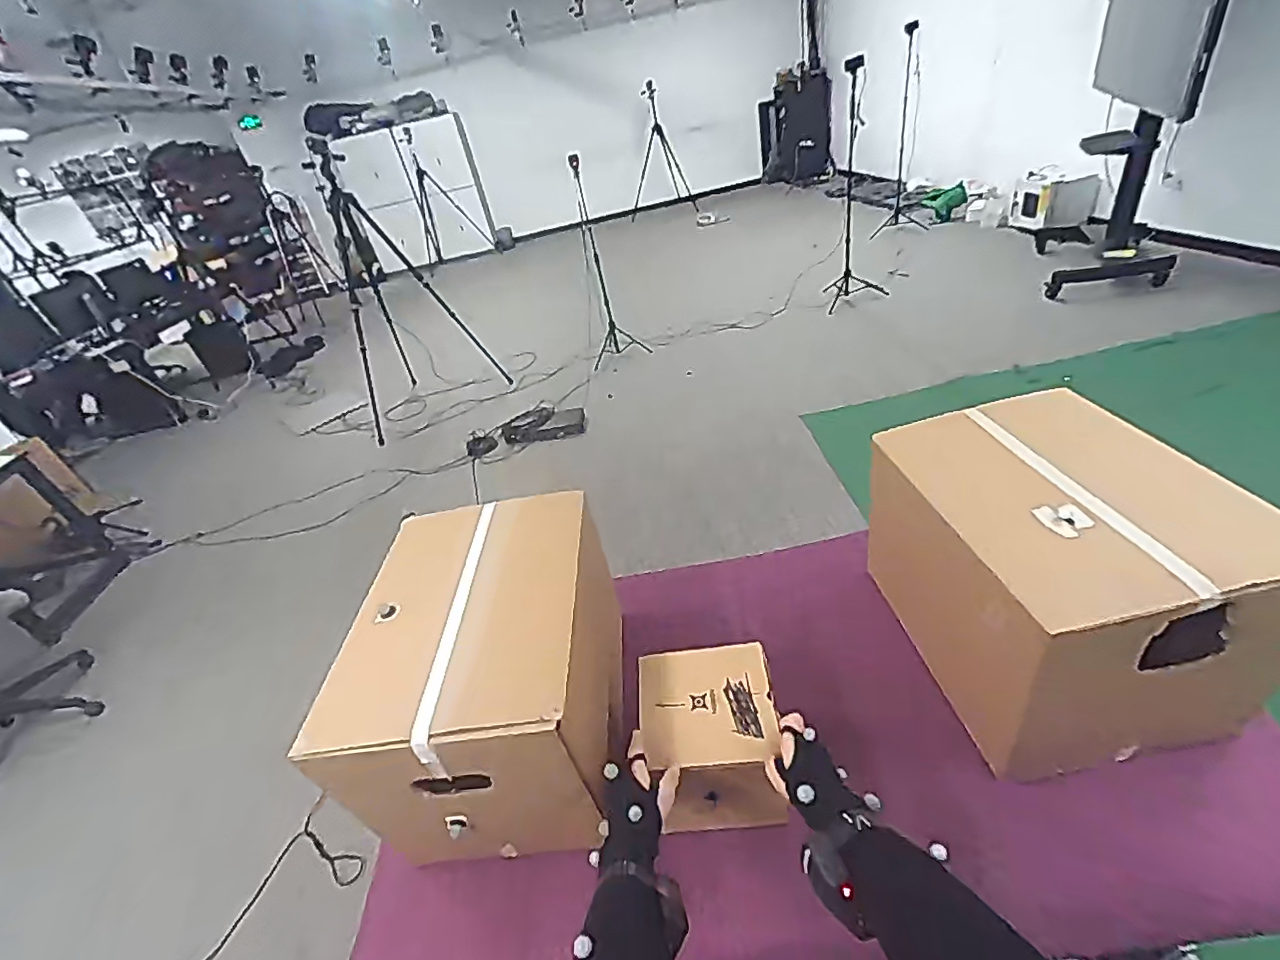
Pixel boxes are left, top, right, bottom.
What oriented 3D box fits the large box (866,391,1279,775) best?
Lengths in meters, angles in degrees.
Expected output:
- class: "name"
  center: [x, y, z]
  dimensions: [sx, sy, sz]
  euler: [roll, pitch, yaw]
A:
- class: "large box"
  center: [0.563, 0.125, 0.773]
  dimensions: [0.320, 0.320, 0.408]
  euler: [-14, 35, 3]
